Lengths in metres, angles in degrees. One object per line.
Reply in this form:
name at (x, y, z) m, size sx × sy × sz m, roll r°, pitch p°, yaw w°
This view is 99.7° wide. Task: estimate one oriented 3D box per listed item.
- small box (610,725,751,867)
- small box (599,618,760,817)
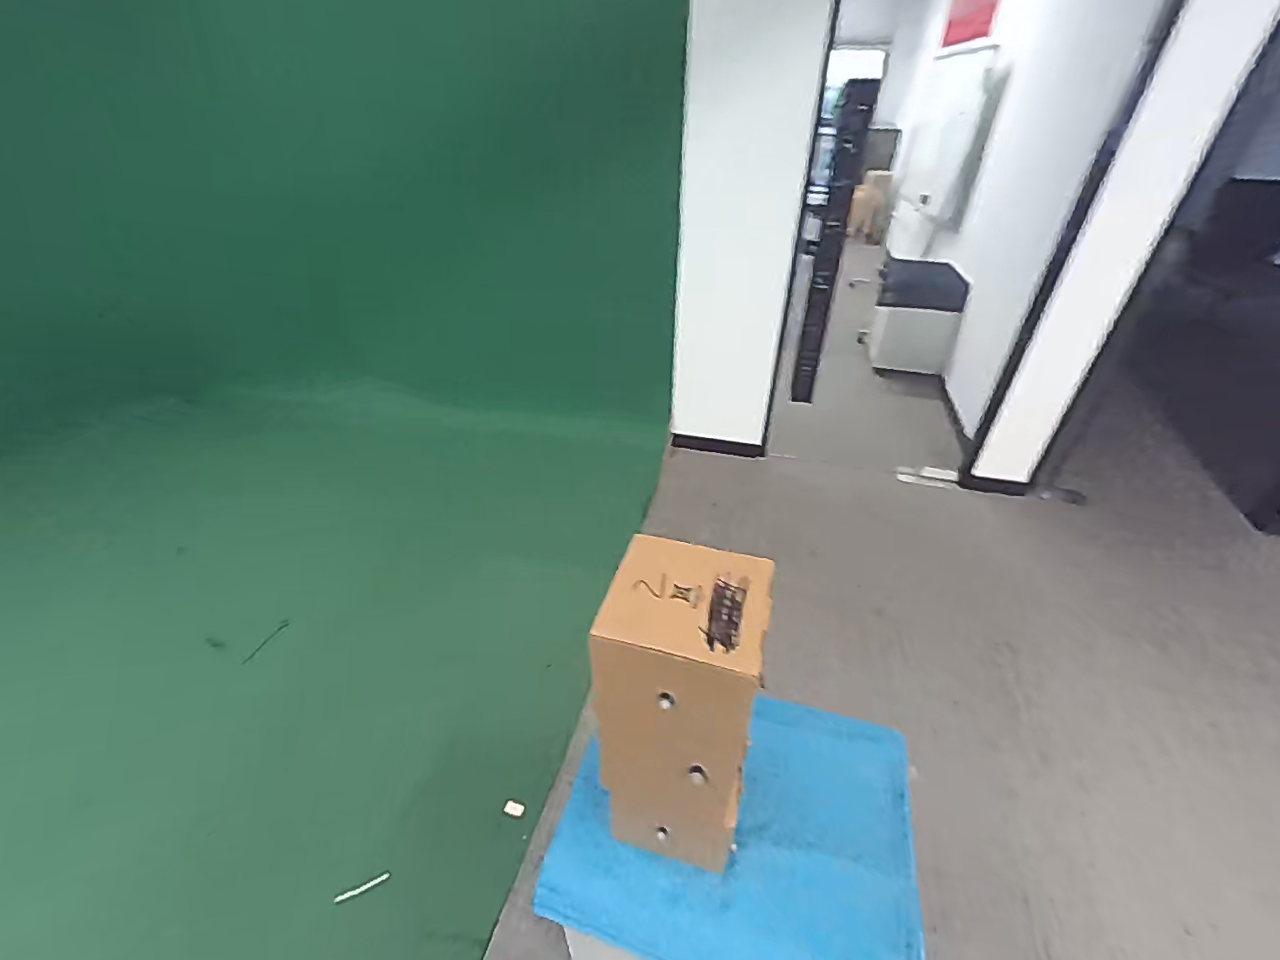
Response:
small box at (0.062, 0.456, 0.830) m, size 0.179 × 0.176 × 0.168 m, roll 10°, pitch 37°, yaw 13°
small box at (0.055, 0.321, 0.734) m, size 0.179 × 0.176 × 0.168 m, roll 11°, pitch 36°, yaw 13°
